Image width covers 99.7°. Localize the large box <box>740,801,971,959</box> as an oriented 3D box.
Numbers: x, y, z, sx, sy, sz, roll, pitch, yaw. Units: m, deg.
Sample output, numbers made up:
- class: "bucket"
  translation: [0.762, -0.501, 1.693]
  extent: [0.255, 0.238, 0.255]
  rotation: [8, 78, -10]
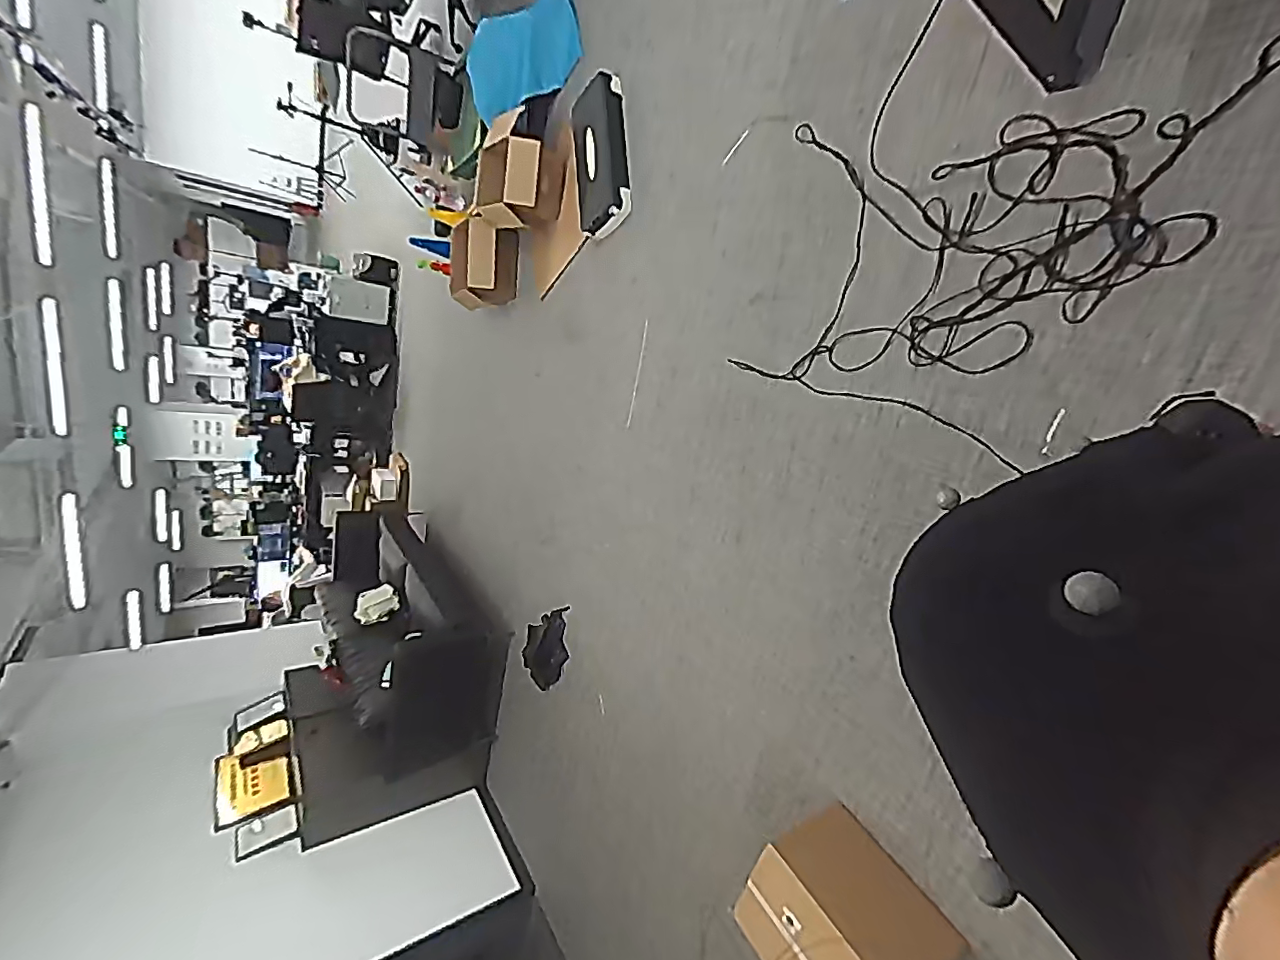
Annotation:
- class: "large box"
  translation: [0.541, 1.154, 1.406]
  extent: [0.408, 0.320, 0.320]
  rotation: [41, 122, 47]
